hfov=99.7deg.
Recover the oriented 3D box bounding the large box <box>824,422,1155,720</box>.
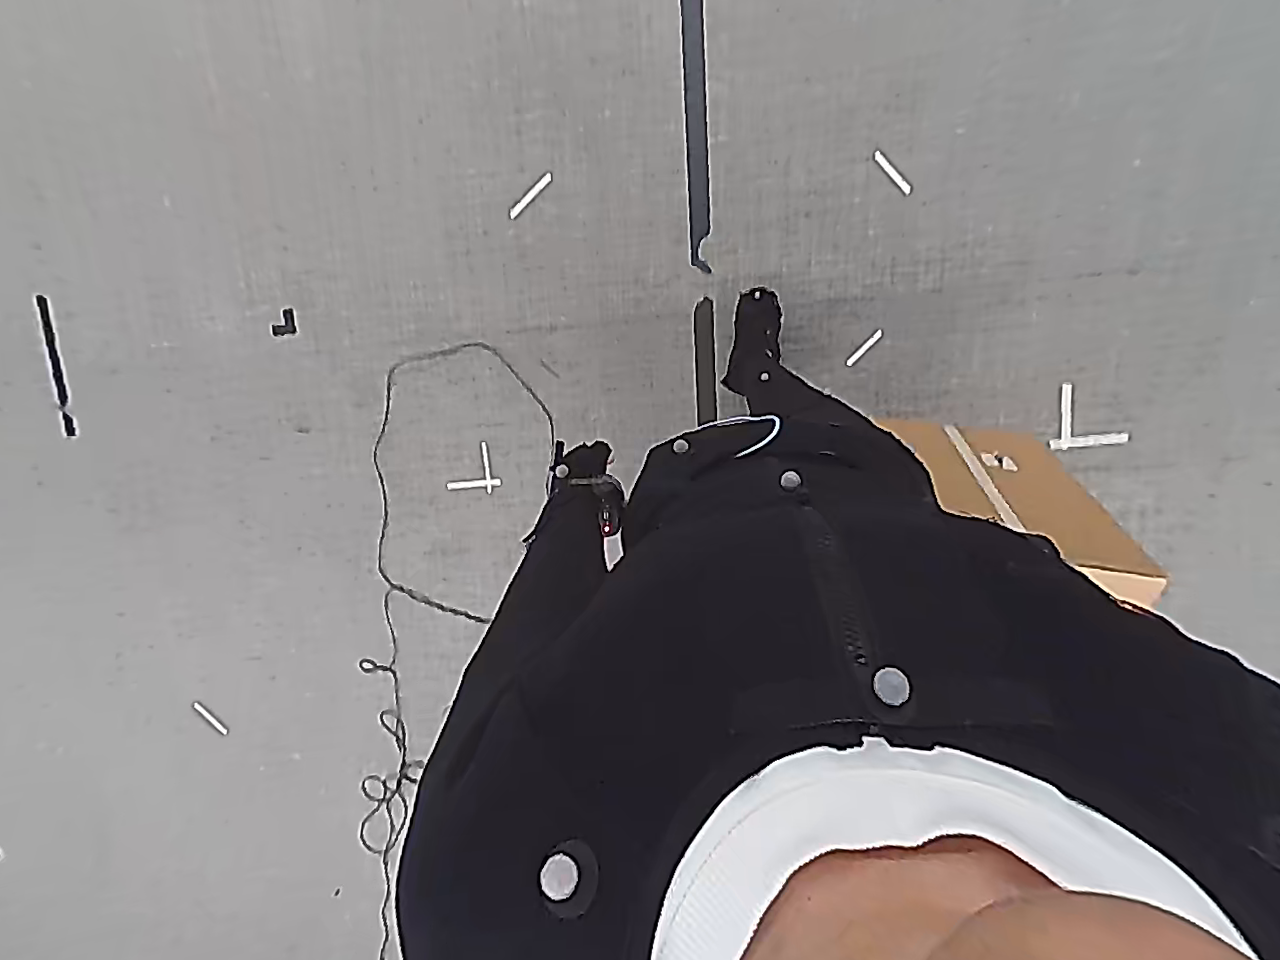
[{"bbox_3d":[0.524,0.130,0.934,0.320,0.408,0.320,8,120,7],"label":"large box"}]
